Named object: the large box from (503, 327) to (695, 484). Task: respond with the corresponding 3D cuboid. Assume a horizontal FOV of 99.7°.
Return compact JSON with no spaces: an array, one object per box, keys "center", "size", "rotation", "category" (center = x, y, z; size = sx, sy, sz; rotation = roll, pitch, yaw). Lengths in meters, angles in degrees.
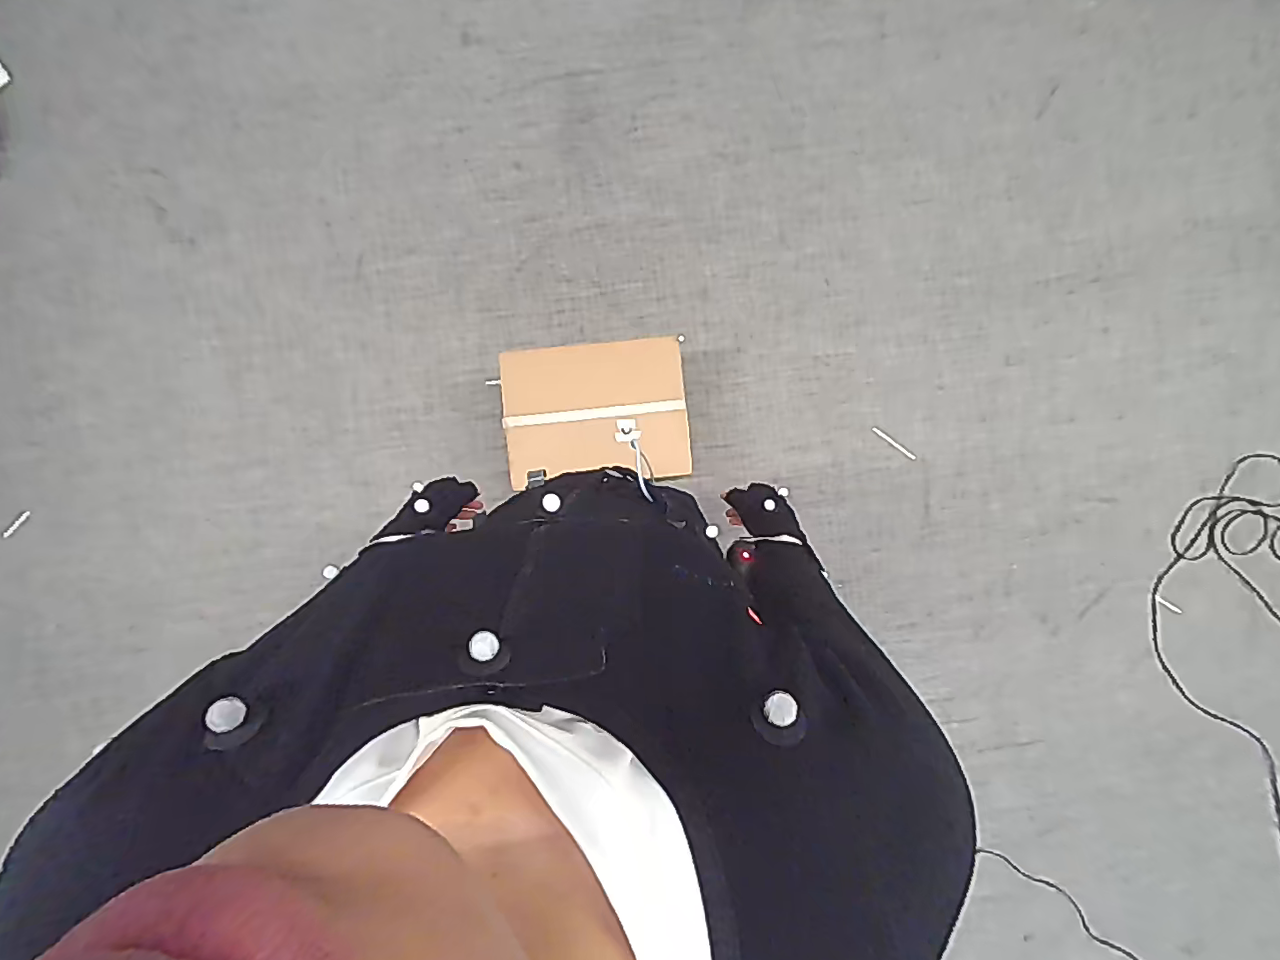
[{"center":[-0.093,-0.164,1.342],"size":[0.408,0.320,0.320],"rotation":[-6,91,0],"category":"large box"}]
